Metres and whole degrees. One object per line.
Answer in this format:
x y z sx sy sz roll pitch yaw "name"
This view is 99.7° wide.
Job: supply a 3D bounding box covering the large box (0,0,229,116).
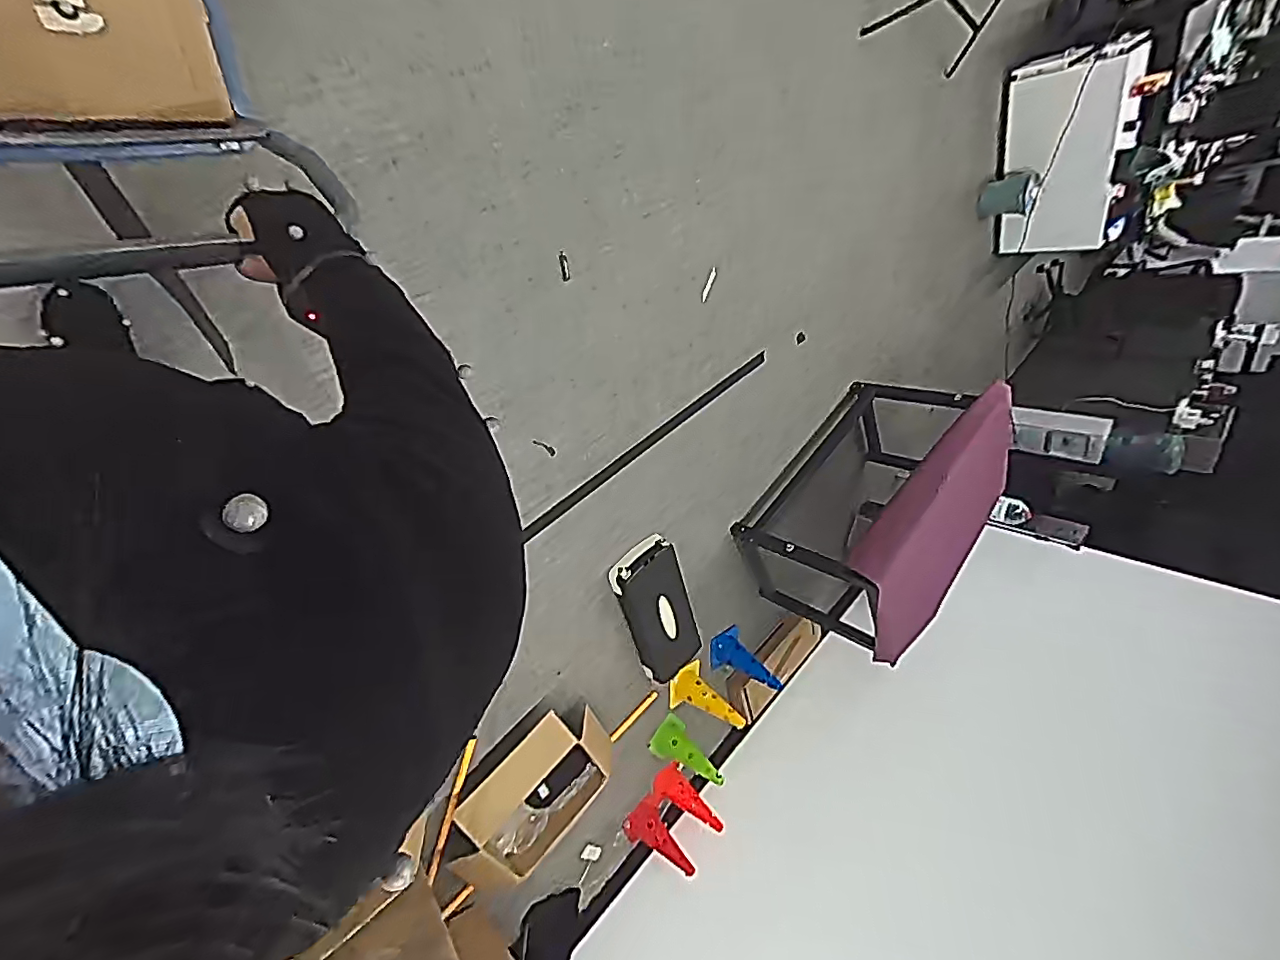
-0.829 -0.643 0.665 0.408 0.320 0.320 -27 135 -35 "large box"
